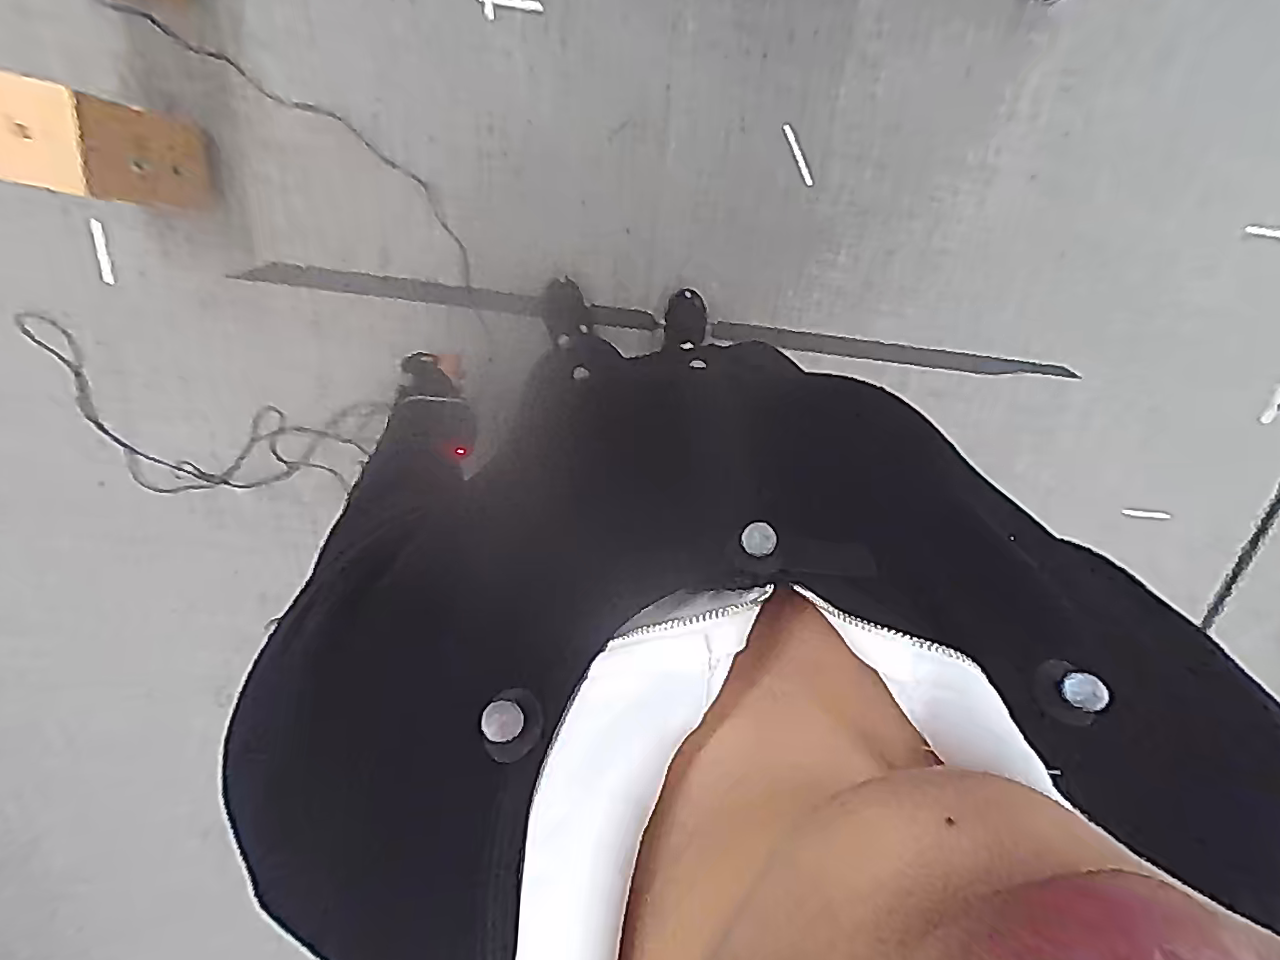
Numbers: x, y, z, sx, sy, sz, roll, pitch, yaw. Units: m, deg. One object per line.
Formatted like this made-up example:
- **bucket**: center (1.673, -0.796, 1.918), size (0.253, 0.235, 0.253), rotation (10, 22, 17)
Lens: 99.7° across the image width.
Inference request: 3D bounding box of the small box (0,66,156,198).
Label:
- **small box**: center (-1.029, -0.614, 0.965), size (0.179, 0.176, 0.168), rotation (9, 112, -9)

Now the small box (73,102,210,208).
- **small box**: center (-1.037, -0.672, 1.119), size (0.168, 0.176, 0.179), rotation (5, 112, -6)
